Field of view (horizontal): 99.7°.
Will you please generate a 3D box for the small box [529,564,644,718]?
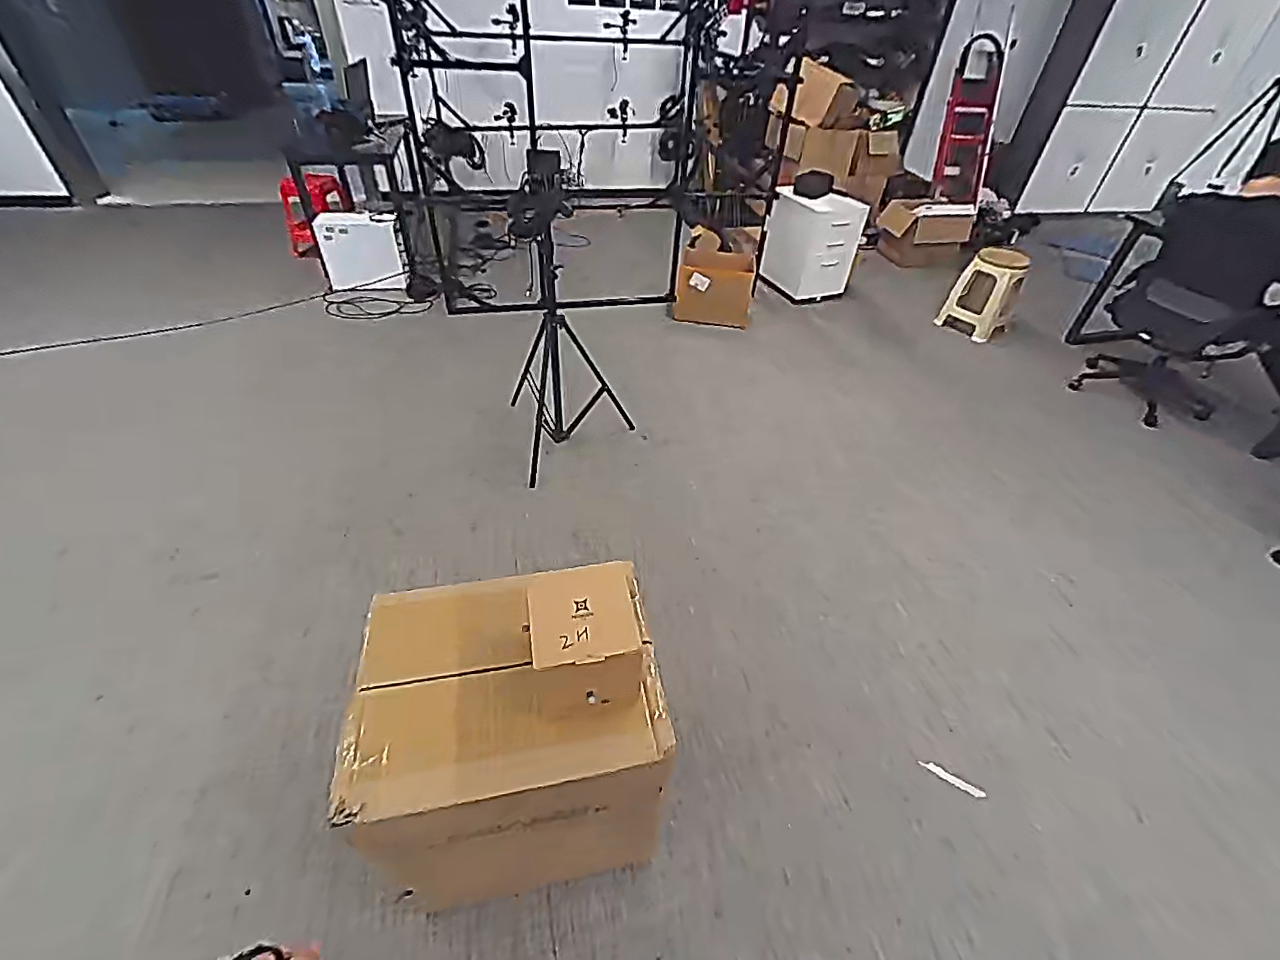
[{"bbox_3d":[-0.094,0.271,0.913,0.168,0.176,0.179,-7,44,-10],"label":"small box"}]
